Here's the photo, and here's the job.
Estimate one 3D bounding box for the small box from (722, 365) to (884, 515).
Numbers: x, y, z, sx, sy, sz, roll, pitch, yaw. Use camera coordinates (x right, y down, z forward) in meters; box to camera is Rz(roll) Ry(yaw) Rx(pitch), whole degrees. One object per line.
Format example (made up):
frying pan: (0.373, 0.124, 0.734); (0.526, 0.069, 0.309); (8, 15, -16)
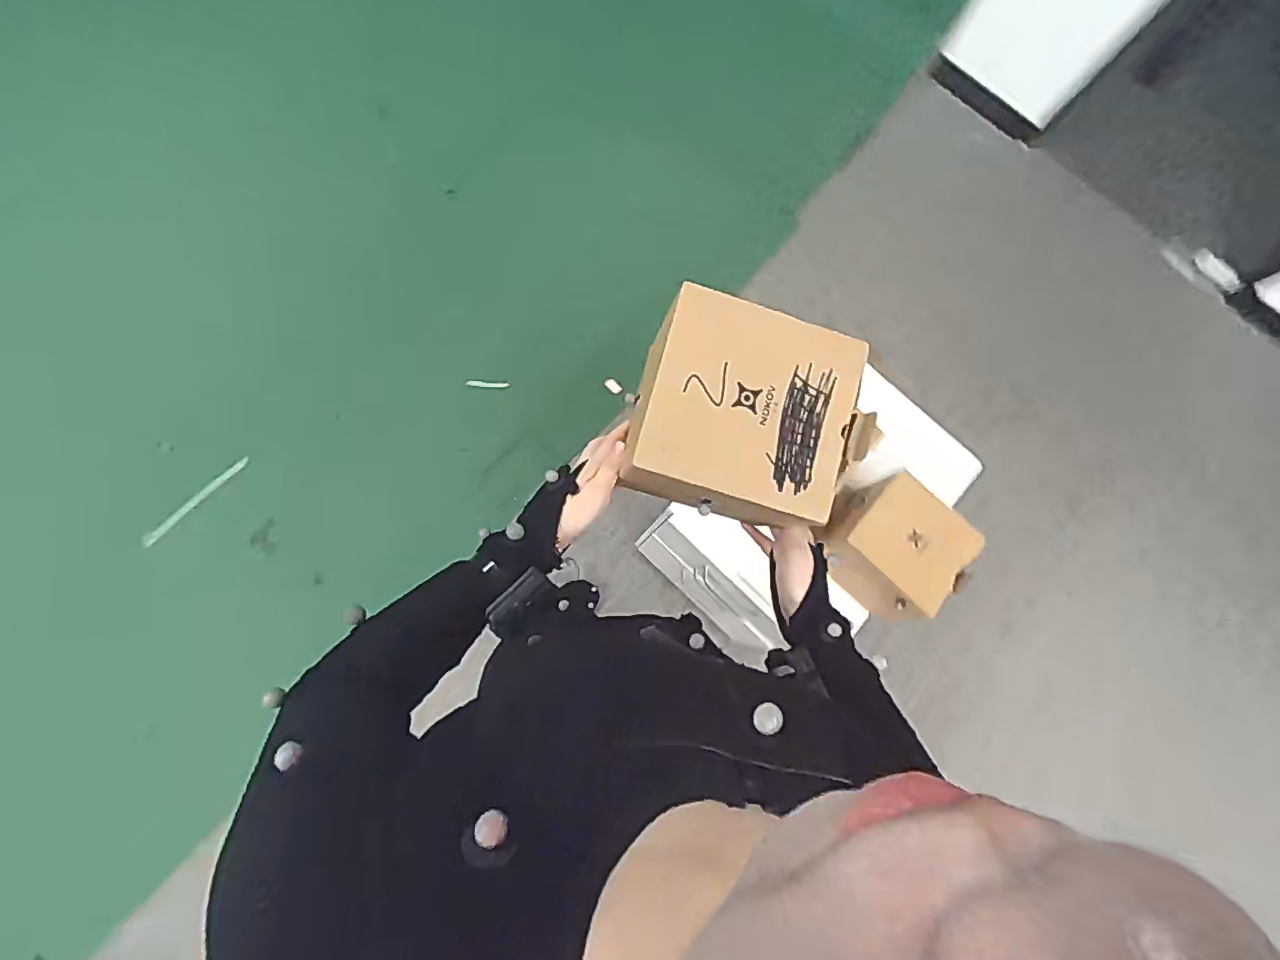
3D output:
small box: (0.270, -0.059, 0.938); (0.179, 0.176, 0.168); (43, 76, 4)
